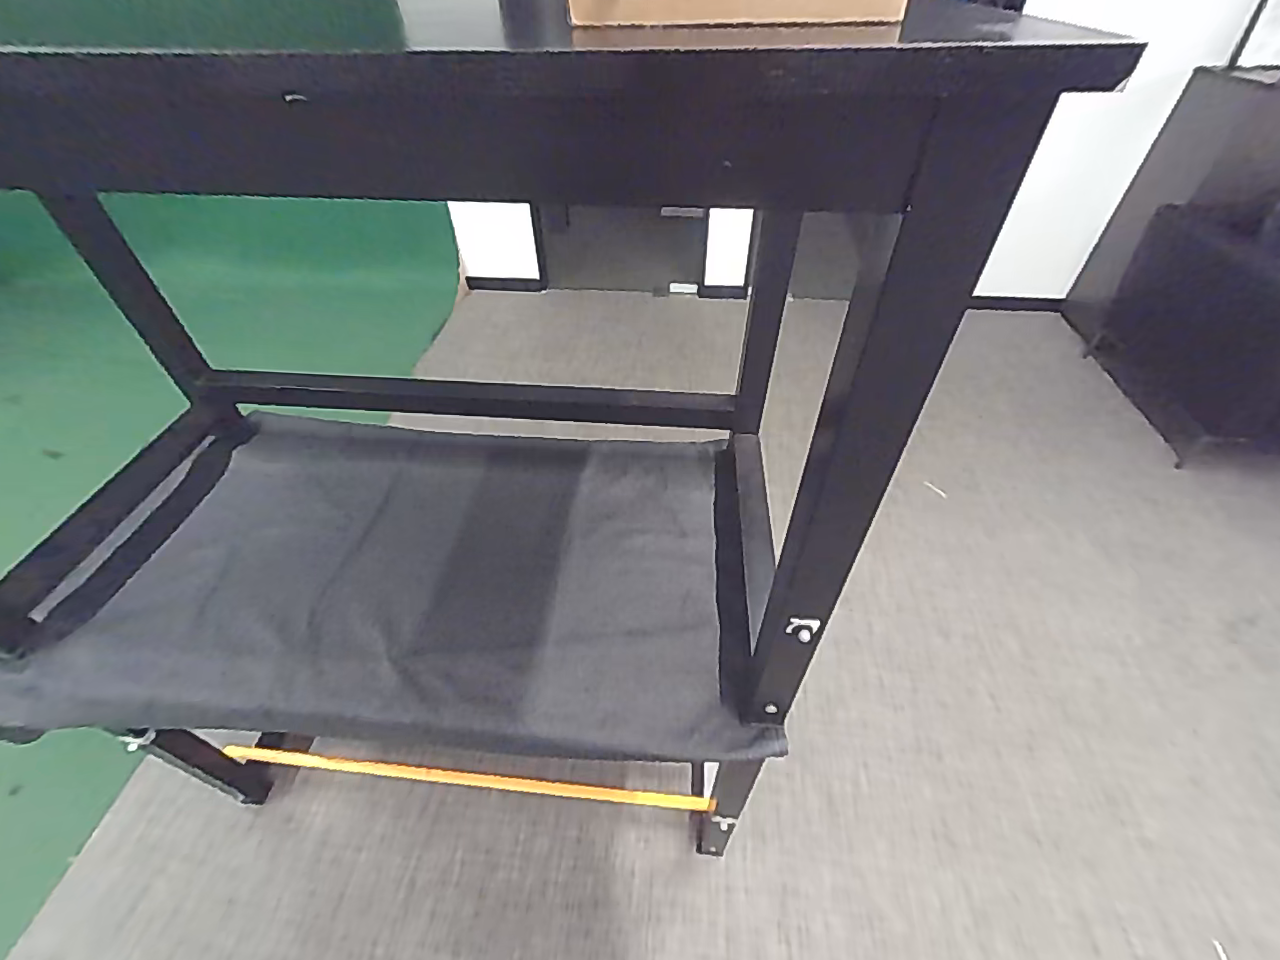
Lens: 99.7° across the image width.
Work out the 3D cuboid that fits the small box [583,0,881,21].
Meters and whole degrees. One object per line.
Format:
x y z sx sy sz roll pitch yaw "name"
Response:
0.056 -0.351 0.278 0.168 0.176 0.179 6 44 7 "small box"
